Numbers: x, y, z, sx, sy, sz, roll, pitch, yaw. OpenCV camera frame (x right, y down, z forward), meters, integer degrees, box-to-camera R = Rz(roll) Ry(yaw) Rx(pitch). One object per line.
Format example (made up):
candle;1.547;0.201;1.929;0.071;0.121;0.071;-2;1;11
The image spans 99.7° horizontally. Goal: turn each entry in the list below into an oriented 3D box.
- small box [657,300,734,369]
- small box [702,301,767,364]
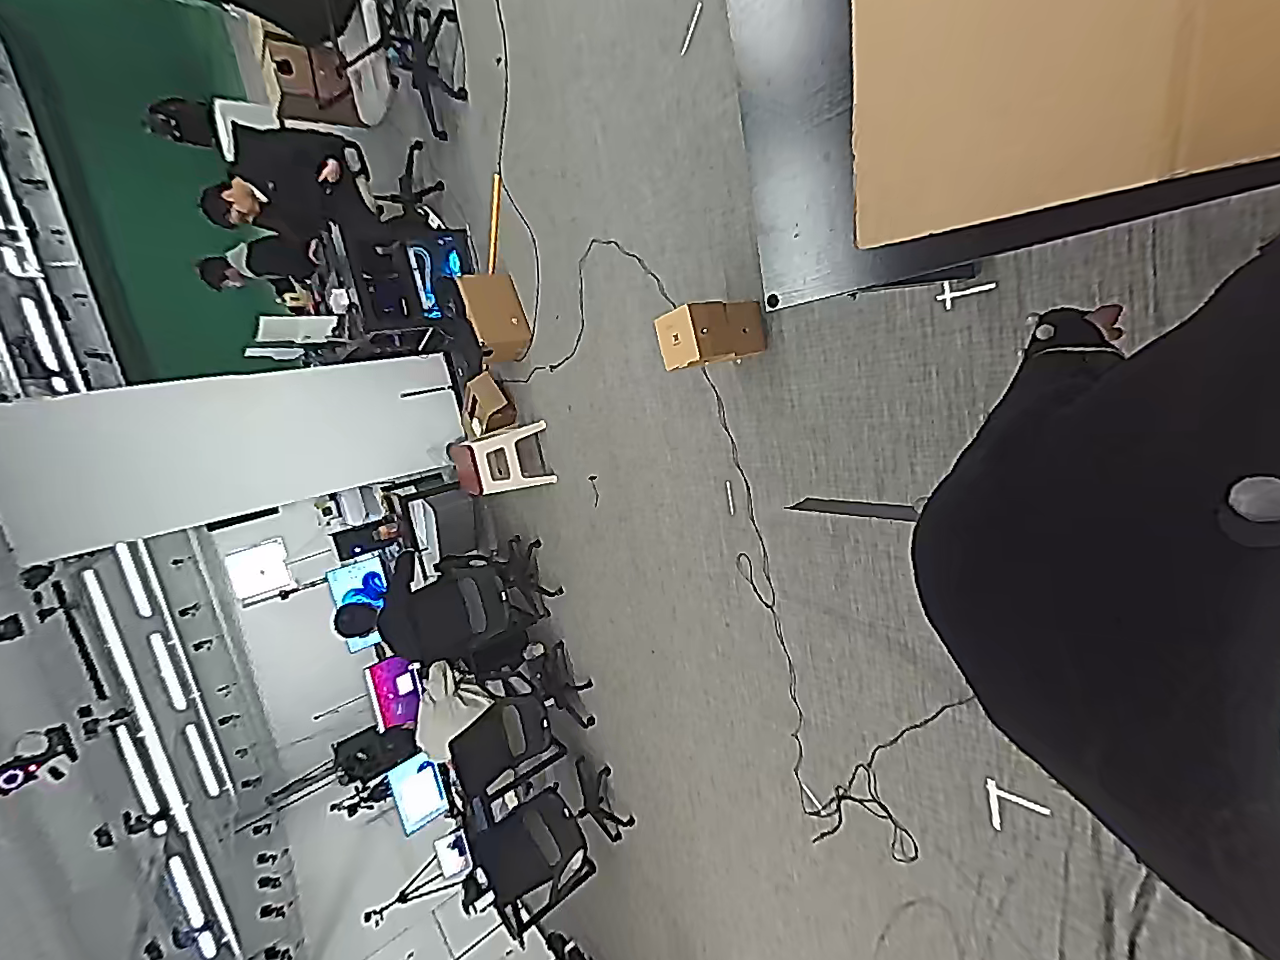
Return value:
small box;0.184;-0.473;1.755;0.168;0.176;0.179;-7;99;53
small box;0.311;-0.508;1.851;0.168;0.176;0.179;-2;103;53
